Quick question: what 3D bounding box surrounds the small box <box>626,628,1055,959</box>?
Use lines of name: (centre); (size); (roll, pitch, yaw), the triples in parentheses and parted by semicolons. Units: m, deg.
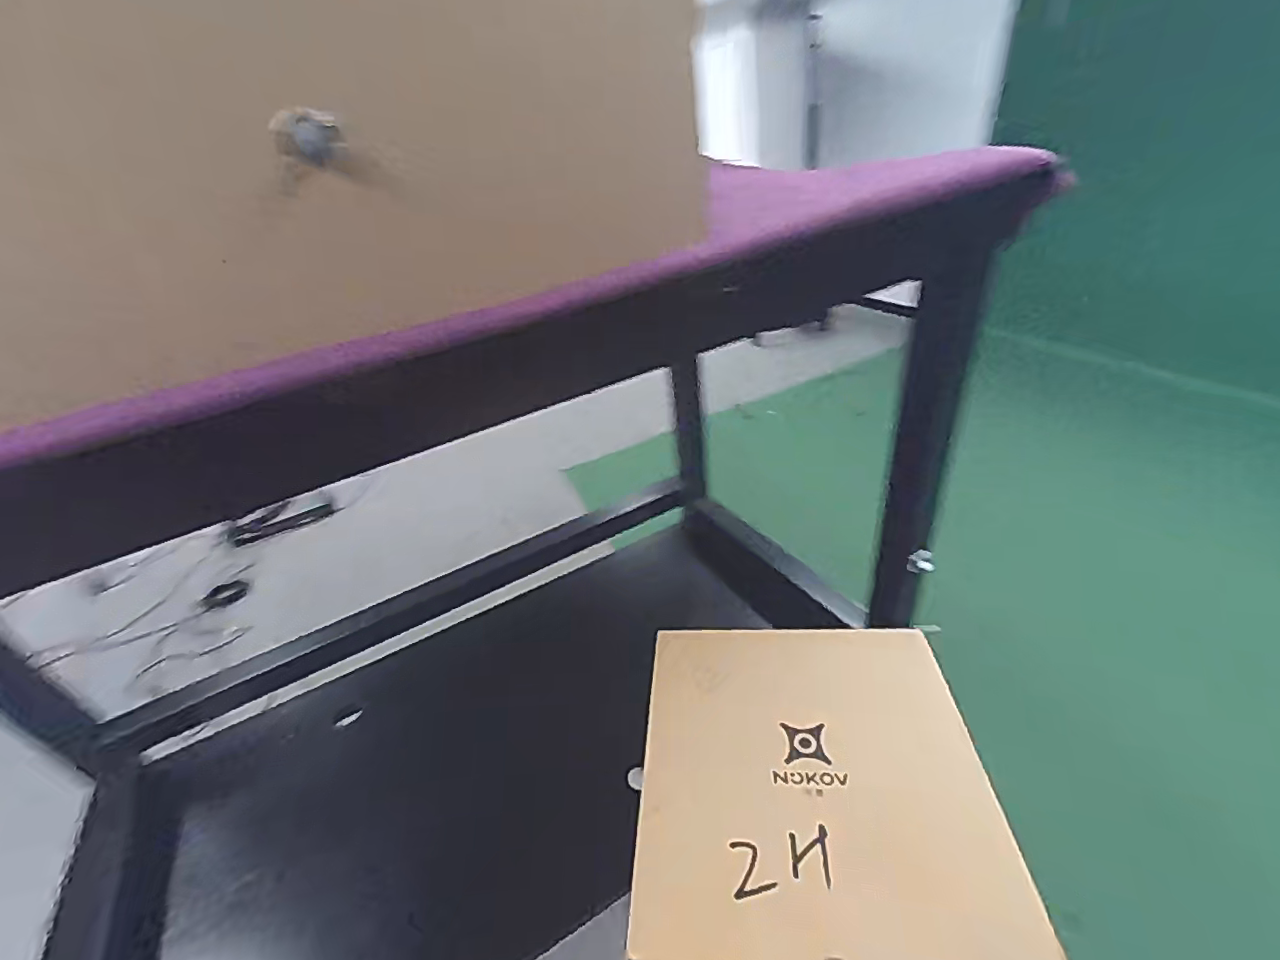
small box: (0.095, 0.211, 0.317); (0.168, 0.176, 0.179); (-3, 32, 11)
